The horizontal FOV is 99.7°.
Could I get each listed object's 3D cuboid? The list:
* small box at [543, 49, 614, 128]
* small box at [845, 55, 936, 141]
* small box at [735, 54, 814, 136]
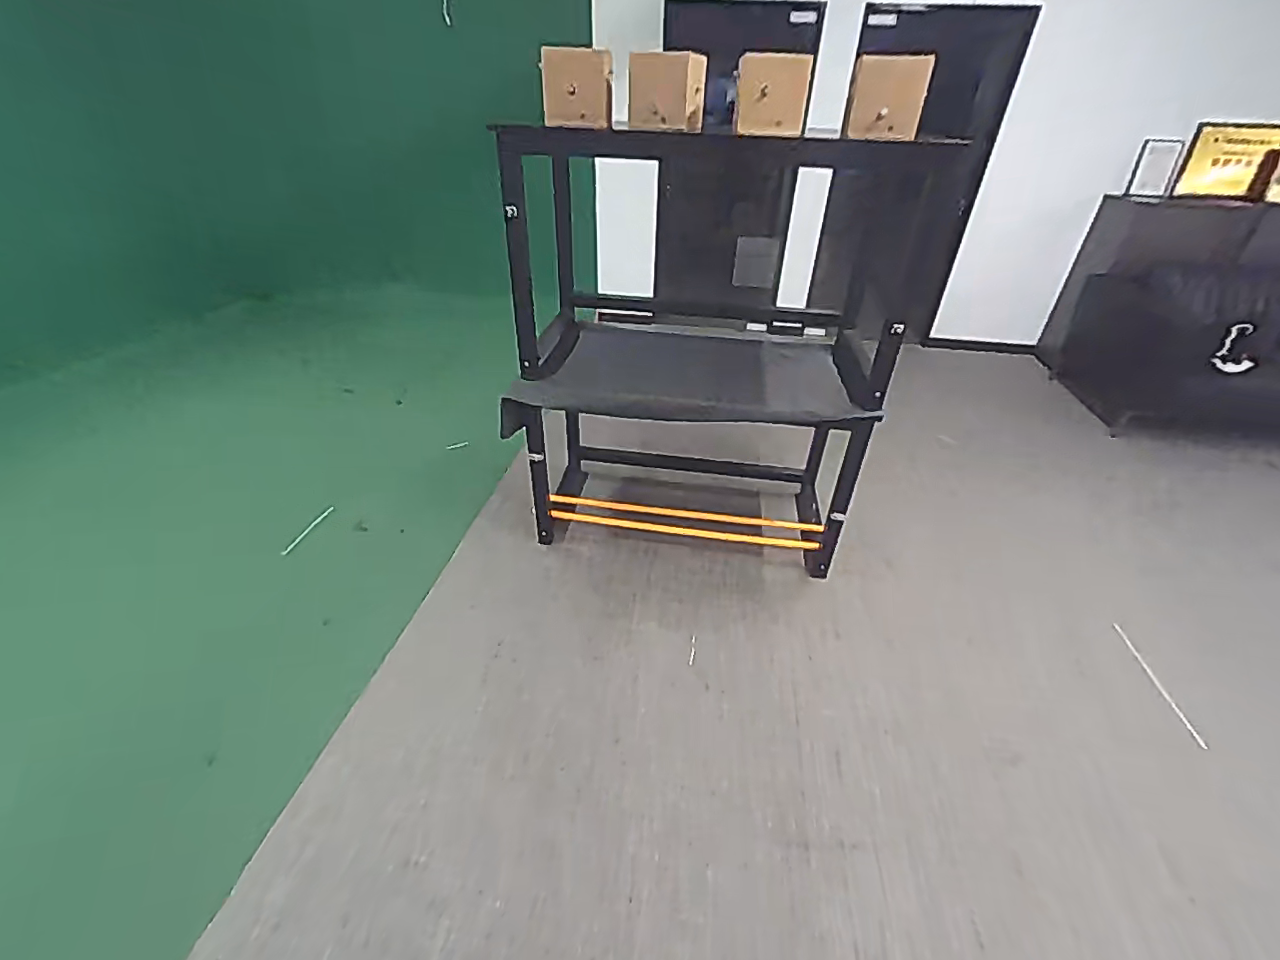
[{"bbox_3d":[-0.161,-1.073,1.487,0.168,0.176,0.179,4,35,2],"label":"small box"},{"bbox_3d":[0.638,-0.986,1.398,0.168,0.176,0.179,9,36,11],"label":"small box"},{"bbox_3d":[0.346,-1.011,1.426,0.168,0.176,0.179,3,34,2],"label":"small box"}]
